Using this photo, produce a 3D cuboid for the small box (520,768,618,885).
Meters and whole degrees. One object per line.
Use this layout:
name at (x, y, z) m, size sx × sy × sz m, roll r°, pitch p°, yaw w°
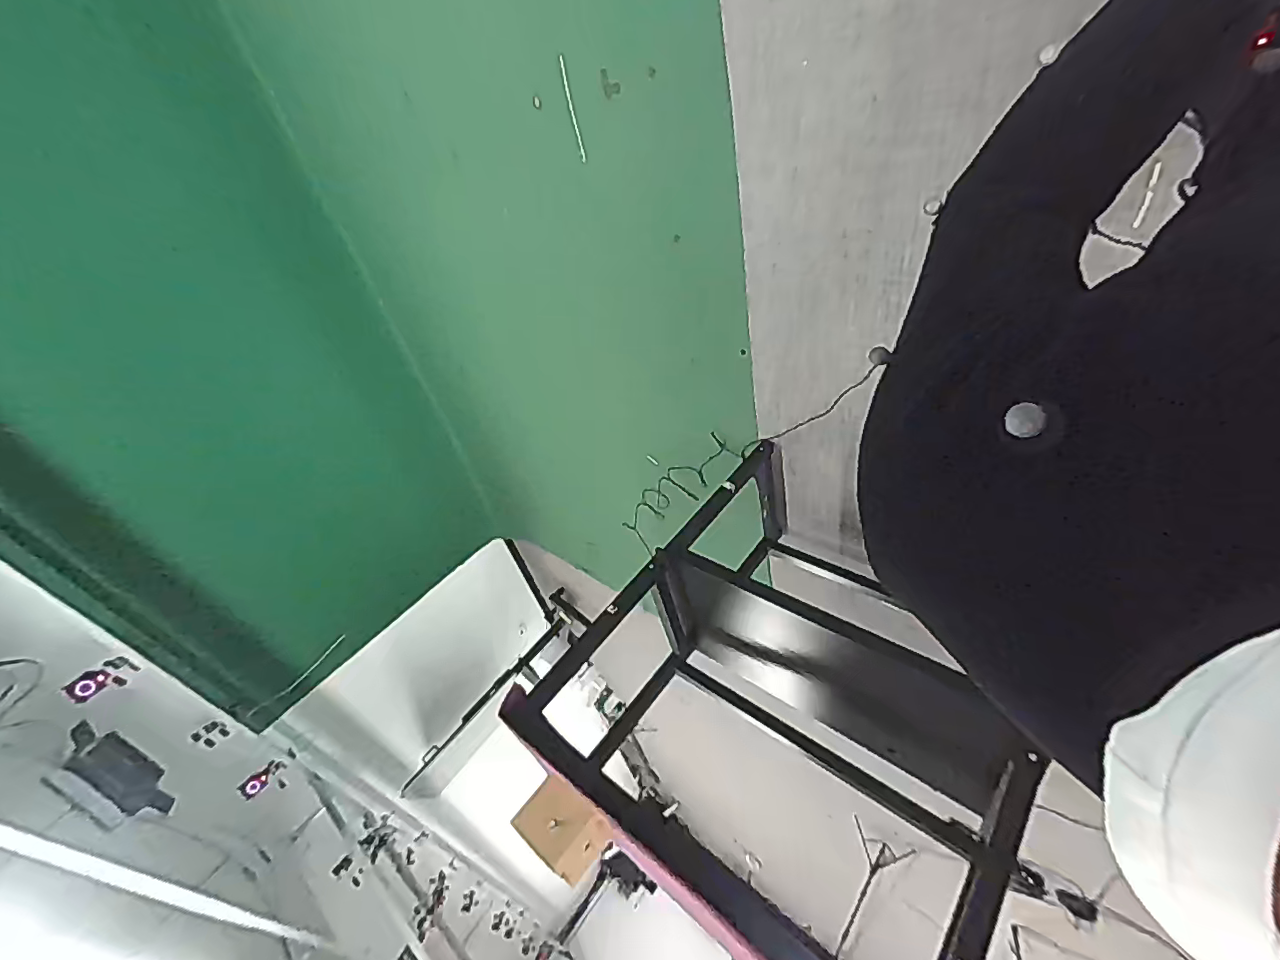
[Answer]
small box at (-0.175, 0.900, 1.415) m, size 0.179 × 0.176 × 0.168 m, roll 19°, pitch 140°, yaw 37°
